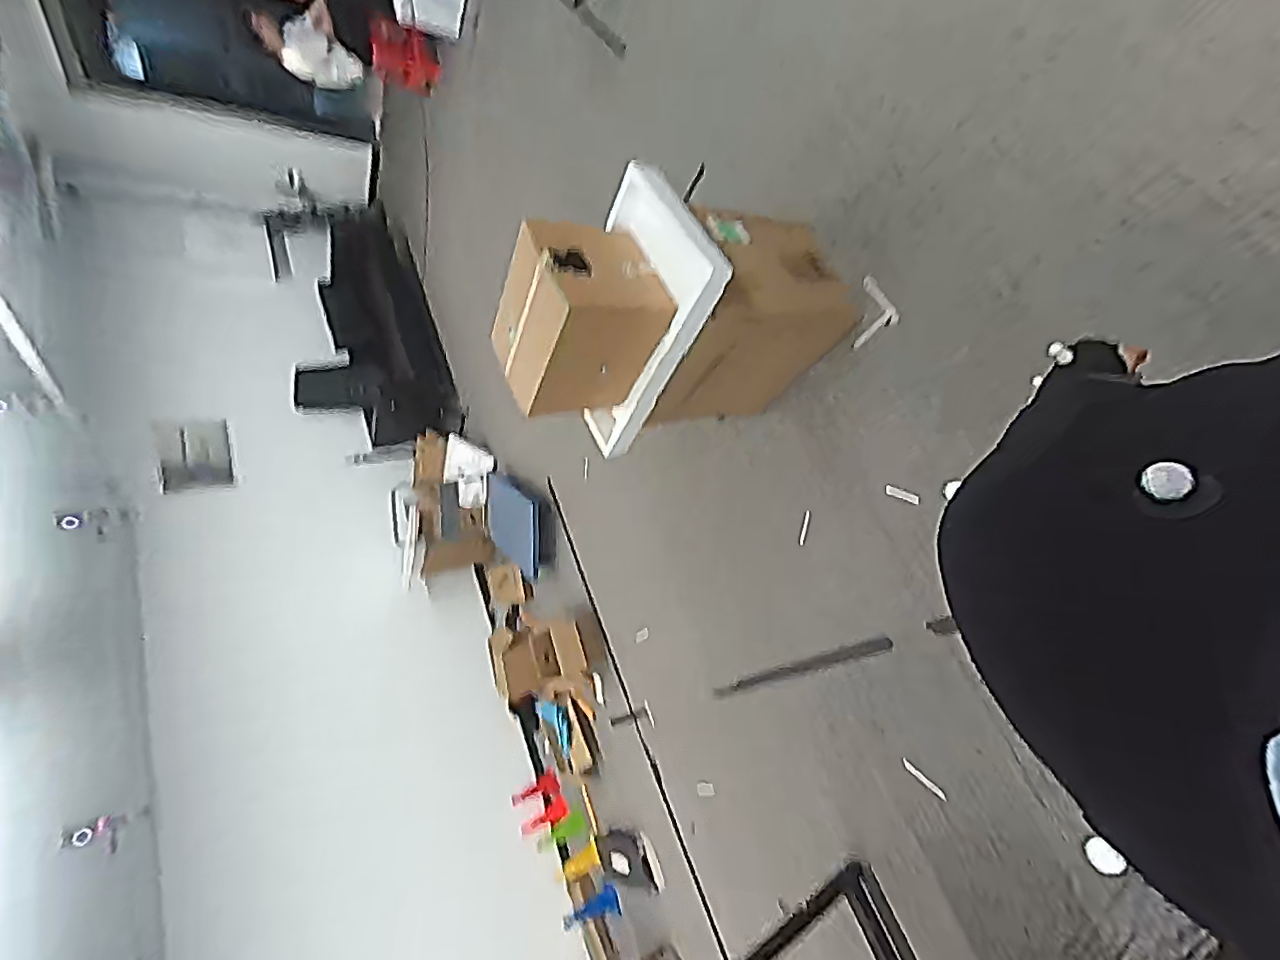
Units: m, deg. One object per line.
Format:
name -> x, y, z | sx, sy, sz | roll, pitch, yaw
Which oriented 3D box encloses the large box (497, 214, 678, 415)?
large box -> -0.158, -0.432, 1.452 | 0.320, 0.320, 0.408 | 65, 145, 23
